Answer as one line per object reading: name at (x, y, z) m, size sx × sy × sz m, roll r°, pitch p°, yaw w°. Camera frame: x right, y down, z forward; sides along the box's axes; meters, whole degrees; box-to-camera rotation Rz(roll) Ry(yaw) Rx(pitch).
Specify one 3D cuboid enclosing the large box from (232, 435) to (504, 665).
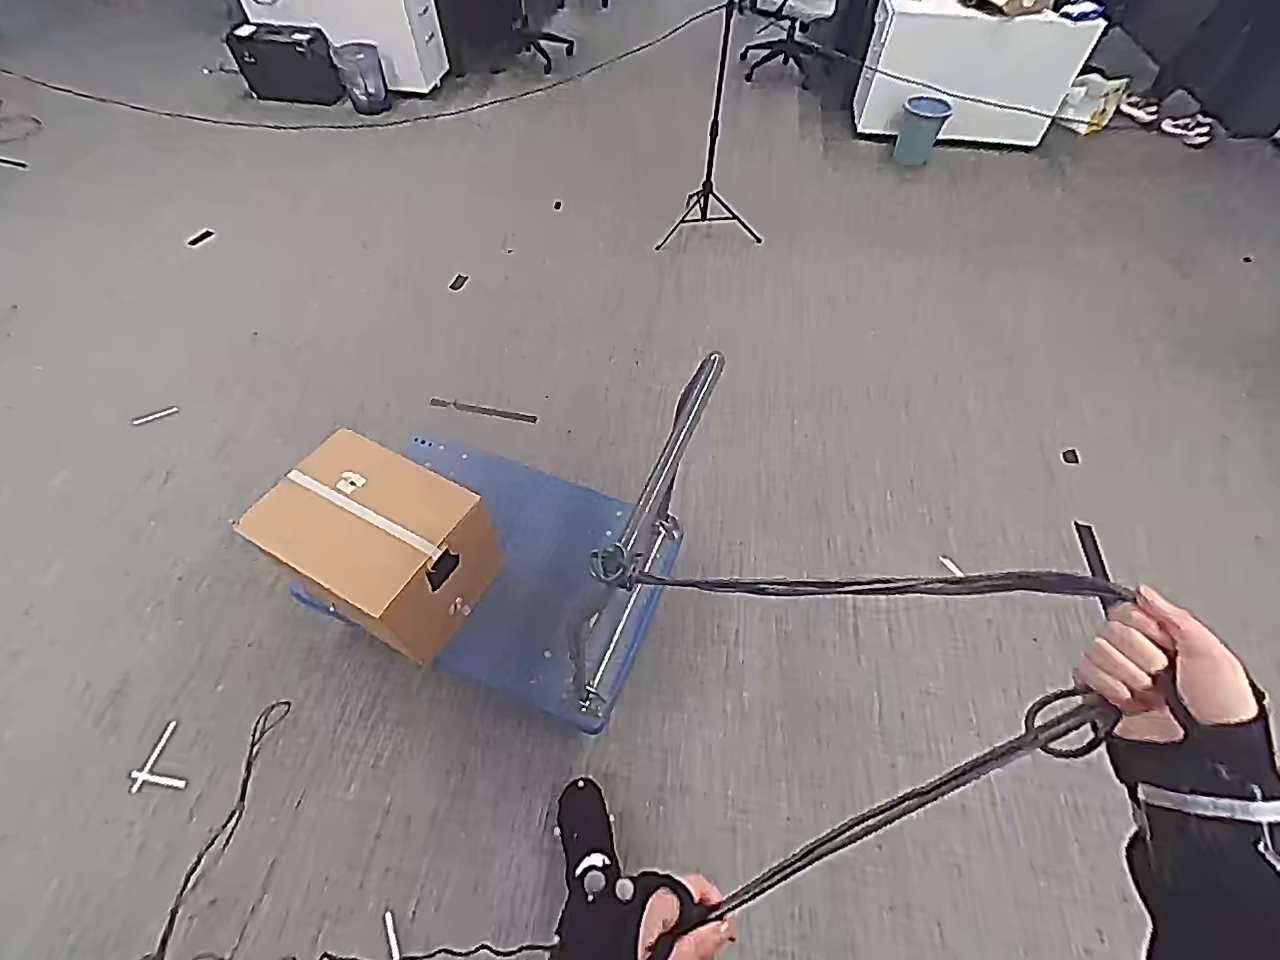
large box at (-0.588, 0.163, 1.246) m, size 0.408 × 0.320 × 0.320 m, roll 24°, pitch 57°, yaw 15°
